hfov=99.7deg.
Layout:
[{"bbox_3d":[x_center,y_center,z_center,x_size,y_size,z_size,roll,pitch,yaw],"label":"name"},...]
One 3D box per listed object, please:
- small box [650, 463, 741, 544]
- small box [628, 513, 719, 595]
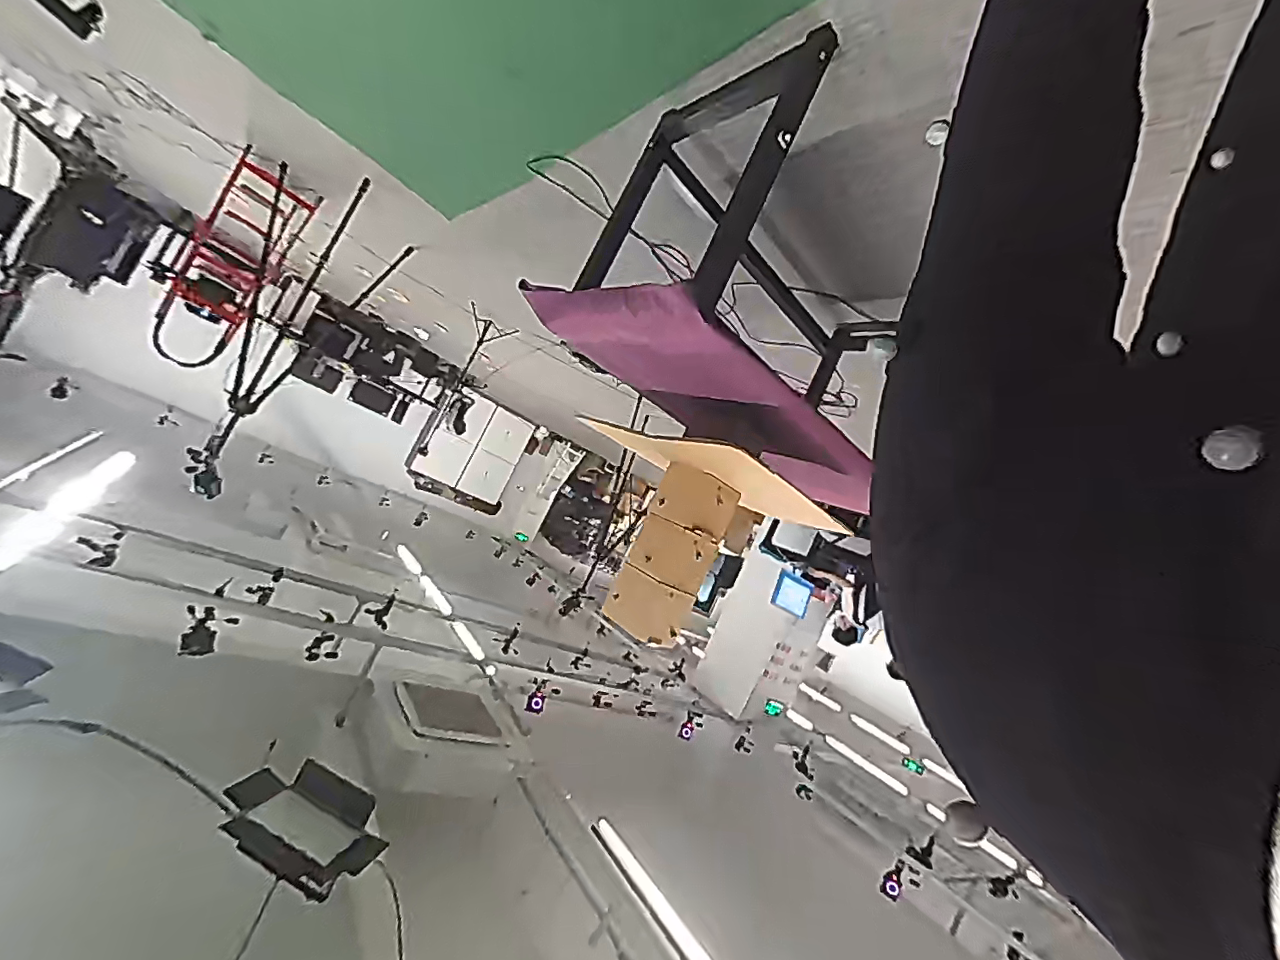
[{"bbox_3d":[0.169,0.064,1.614,0.168,0.176,0.179,29,175,-40],"label":"small box"},{"bbox_3d":[0.101,0.212,1.597,0.168,0.176,0.179,30,174,-38],"label":"small box"}]
